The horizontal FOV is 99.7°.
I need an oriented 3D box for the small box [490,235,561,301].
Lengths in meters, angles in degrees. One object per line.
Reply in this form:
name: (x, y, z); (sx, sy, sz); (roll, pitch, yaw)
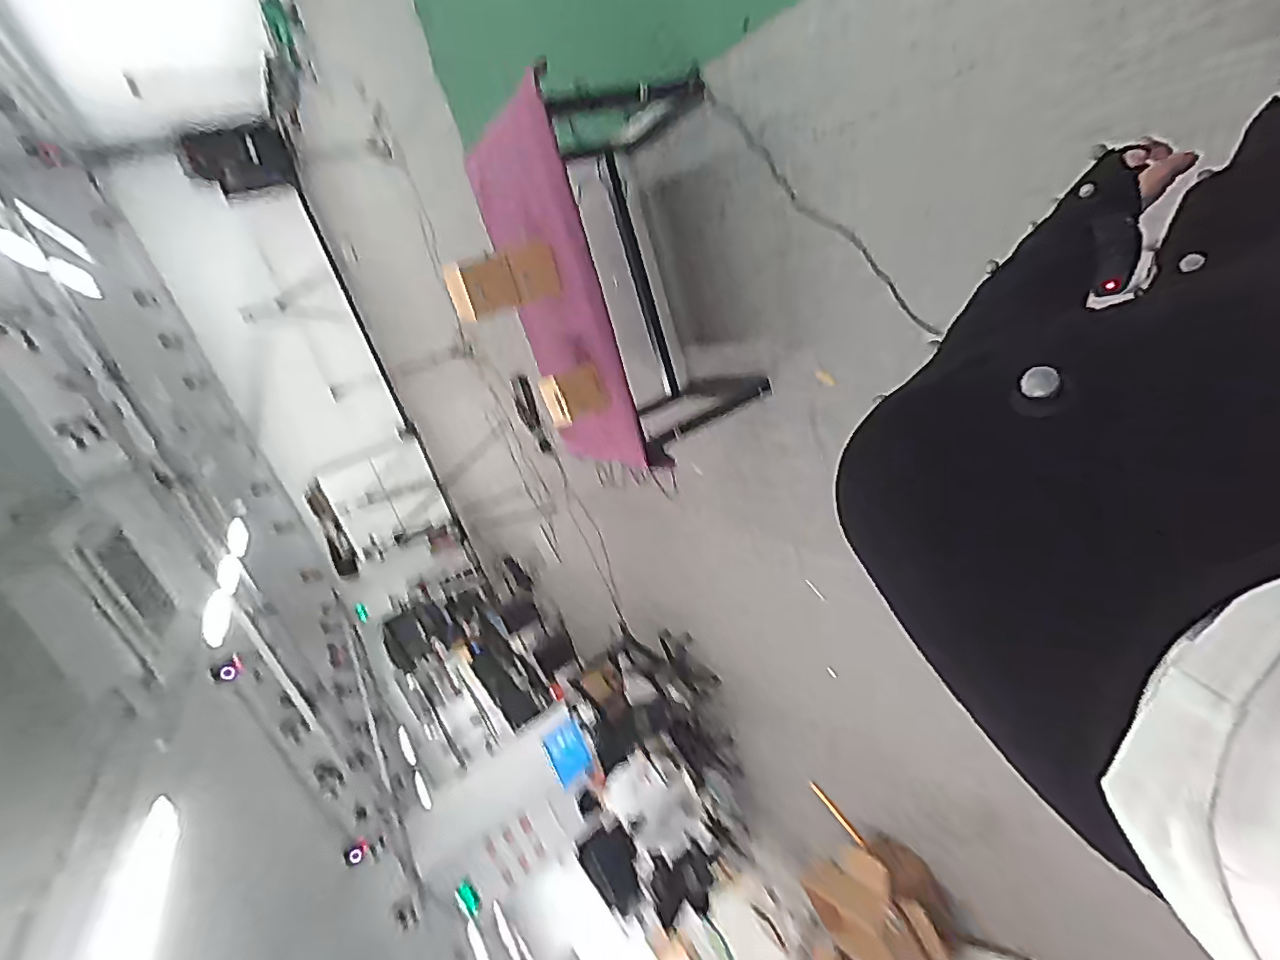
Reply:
small box: (-0.391, -0.728, 1.860); (0.168, 0.176, 0.179); (24, 135, 50)

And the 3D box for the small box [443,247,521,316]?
small box: (-0.517, -0.656, 1.785); (0.168, 0.176, 0.179); (23, 134, 50)
